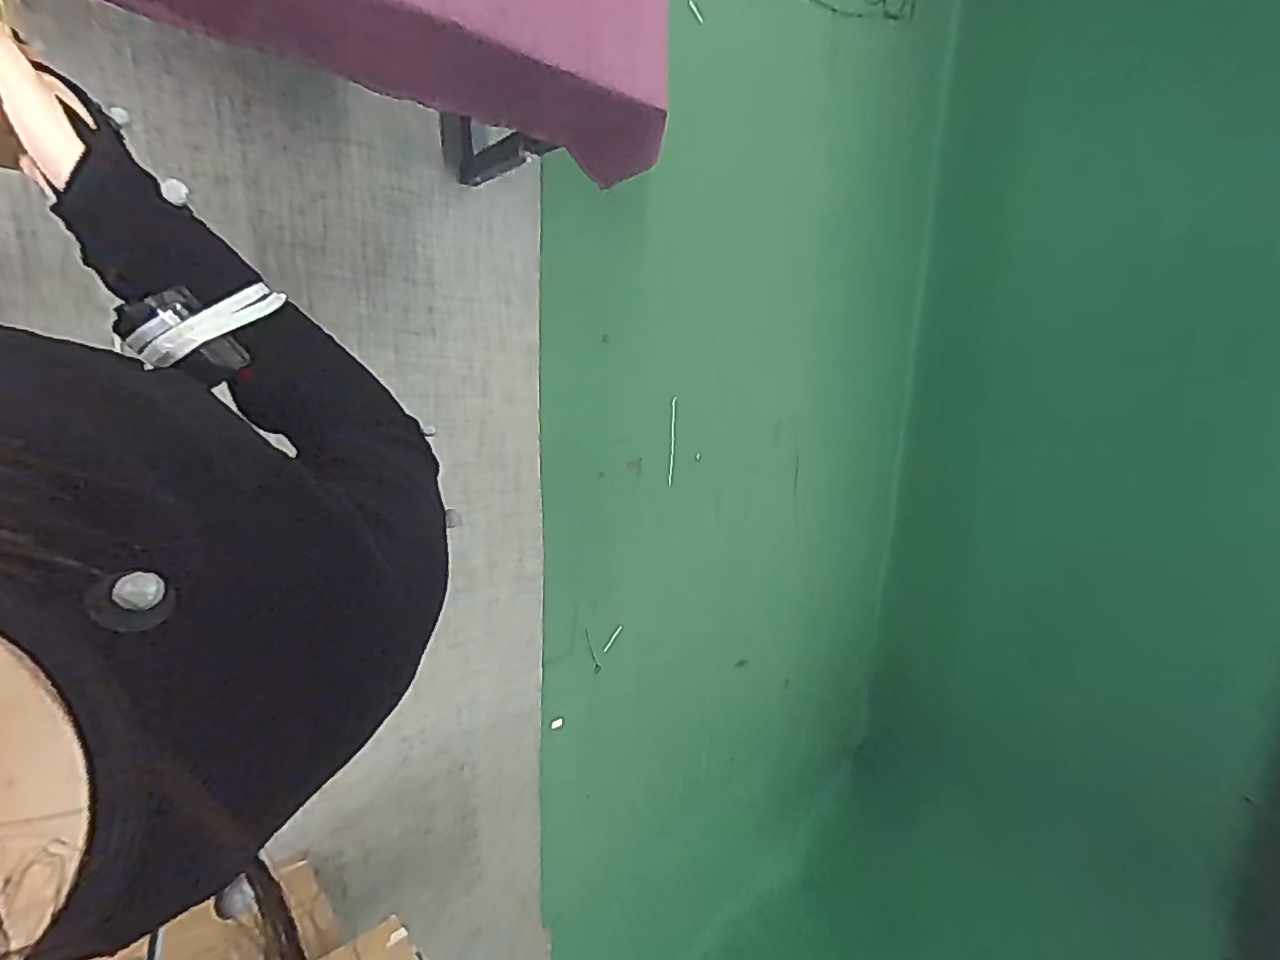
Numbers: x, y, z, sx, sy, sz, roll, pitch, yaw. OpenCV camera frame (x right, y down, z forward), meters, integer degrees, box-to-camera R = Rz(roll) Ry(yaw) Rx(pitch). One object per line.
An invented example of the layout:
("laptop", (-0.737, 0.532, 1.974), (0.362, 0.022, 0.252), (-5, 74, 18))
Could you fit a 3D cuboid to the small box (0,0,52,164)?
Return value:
("small box", (-0.472, -0.299, 0.293), (0.179, 0.176, 0.168), (-12, 103, -41))
